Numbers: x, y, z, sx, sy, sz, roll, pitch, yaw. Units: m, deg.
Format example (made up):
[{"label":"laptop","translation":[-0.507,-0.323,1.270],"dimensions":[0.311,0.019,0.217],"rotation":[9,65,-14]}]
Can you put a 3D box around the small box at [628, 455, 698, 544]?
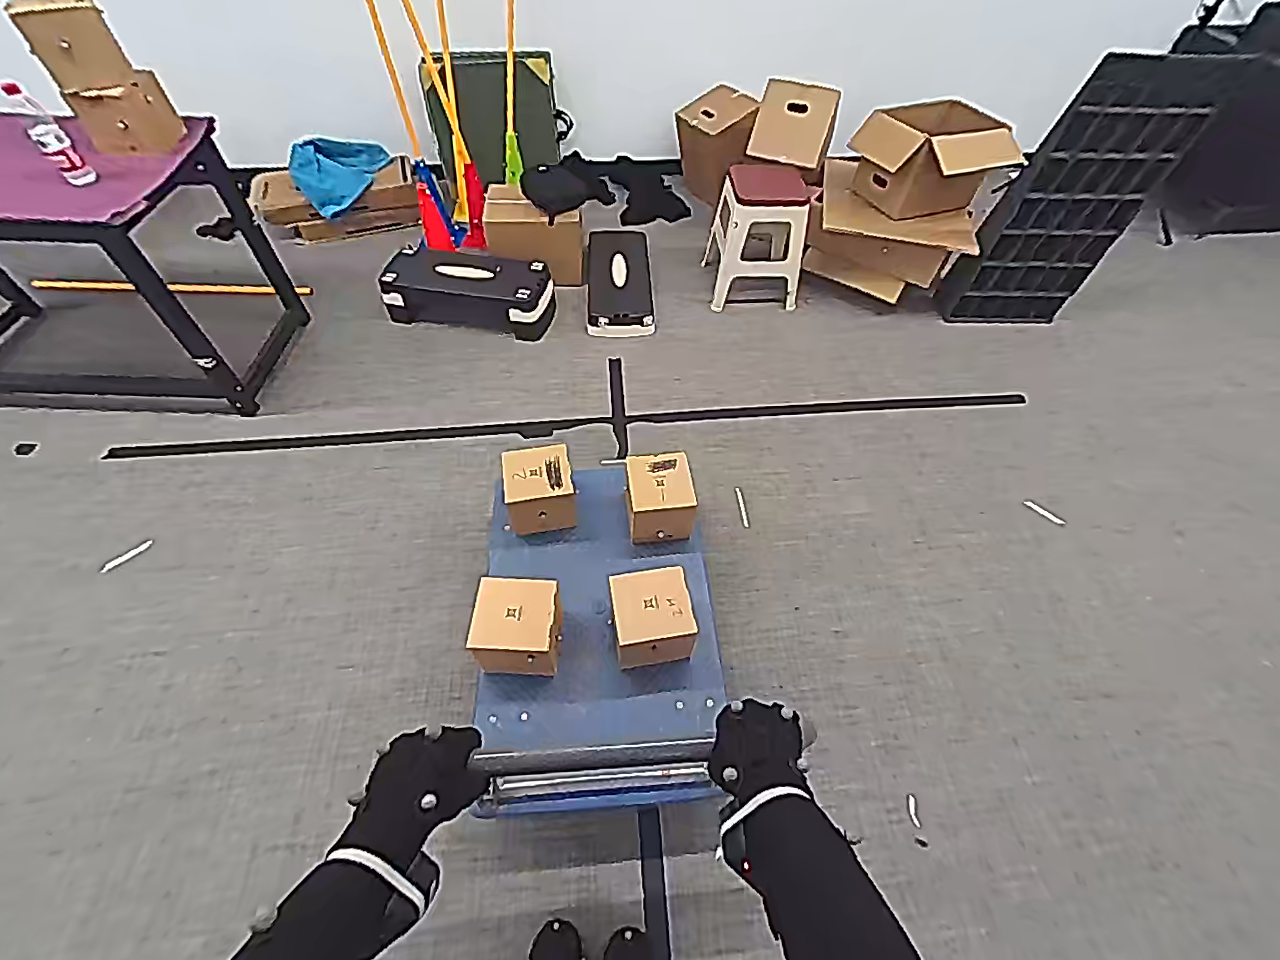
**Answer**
[{"label":"small box","translation":[0.056,0.054,1.474],"dimensions":[0.168,0.176,0.179],"rotation":[-5,56,-5]}]

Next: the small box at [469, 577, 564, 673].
[{"label":"small box","translation":[-0.276,0.340,1.254],"dimensions":[0.179,0.176,0.168],"rotation":[4,54,-1]}]

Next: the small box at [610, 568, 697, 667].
[{"label":"small box","translation":[0.027,0.328,1.275],"dimensions":[0.179,0.176,0.168],"rotation":[-7,55,-7]}]
